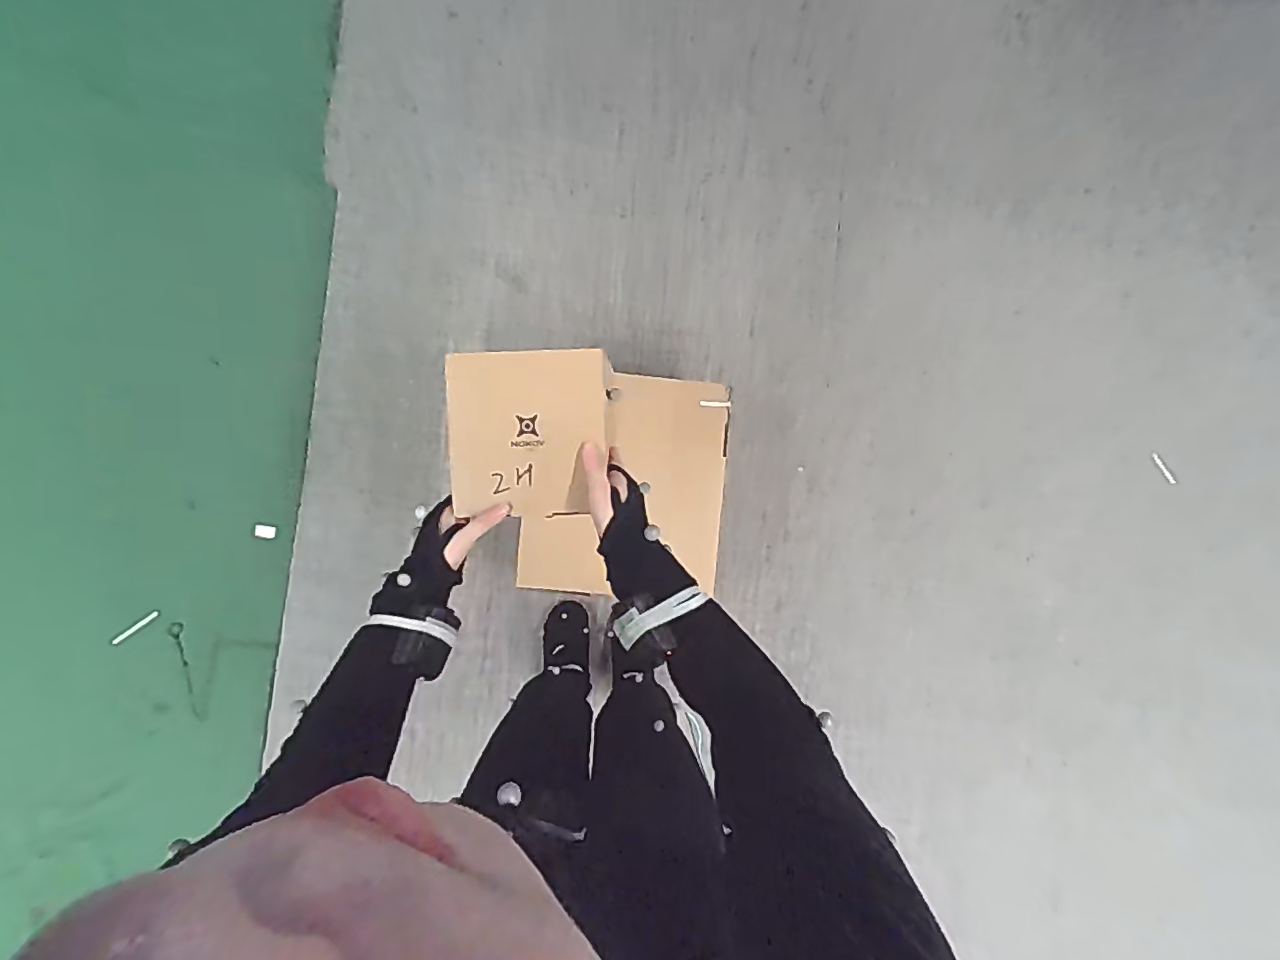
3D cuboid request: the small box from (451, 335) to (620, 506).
[{"bbox_3d":[-0.111,-0.067,0.640,0.168,0.176,0.179,-2,95,1],"label":"small box"}]
